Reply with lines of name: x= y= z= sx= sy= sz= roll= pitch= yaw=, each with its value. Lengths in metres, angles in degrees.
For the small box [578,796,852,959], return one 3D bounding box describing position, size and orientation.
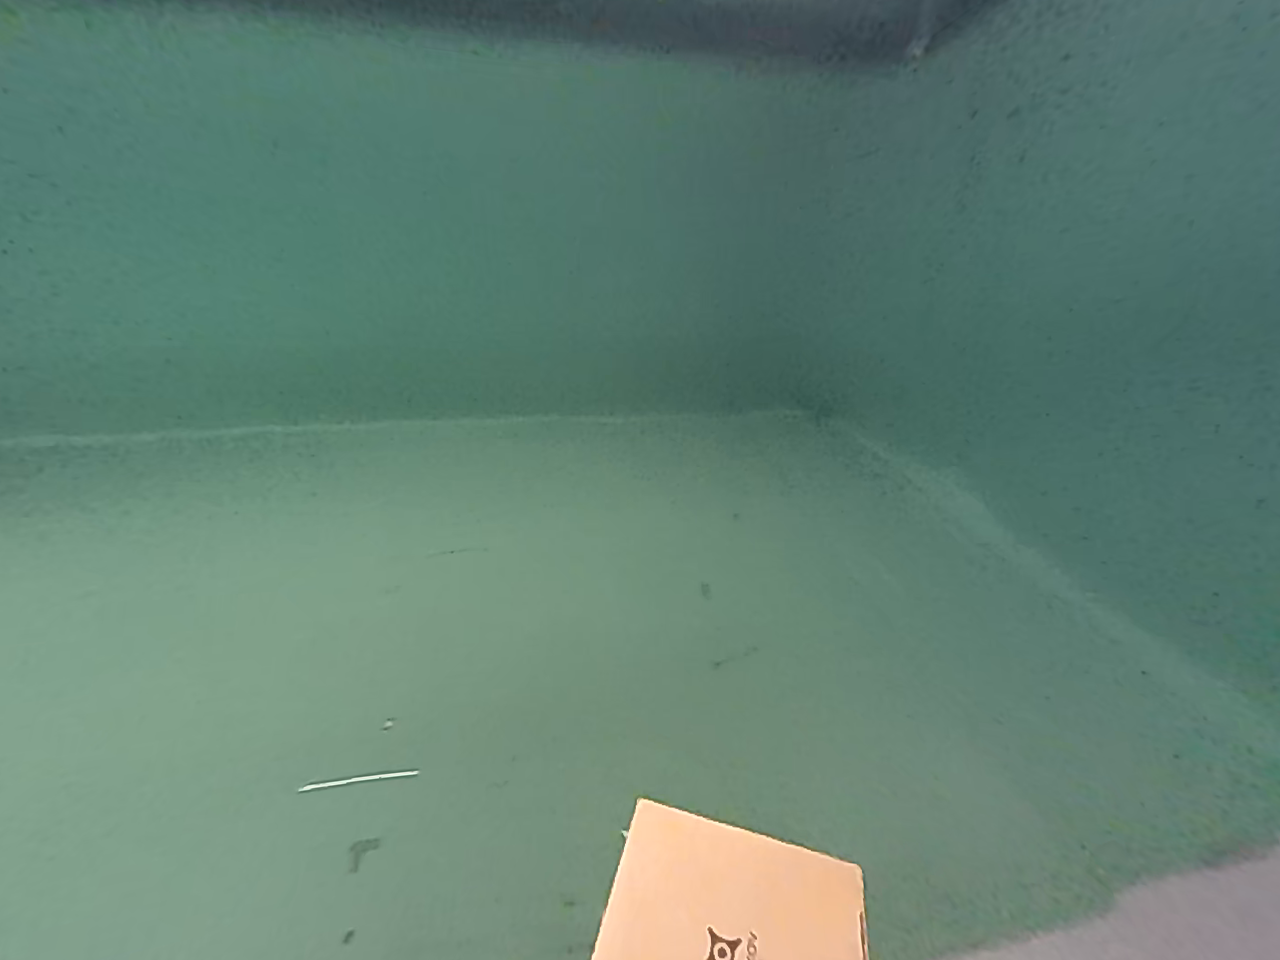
small box: x=0.050 y=0.381 z=0.399 sx=0.179 sy=0.176 sz=0.168 roll=9 pitch=30 yaw=13
